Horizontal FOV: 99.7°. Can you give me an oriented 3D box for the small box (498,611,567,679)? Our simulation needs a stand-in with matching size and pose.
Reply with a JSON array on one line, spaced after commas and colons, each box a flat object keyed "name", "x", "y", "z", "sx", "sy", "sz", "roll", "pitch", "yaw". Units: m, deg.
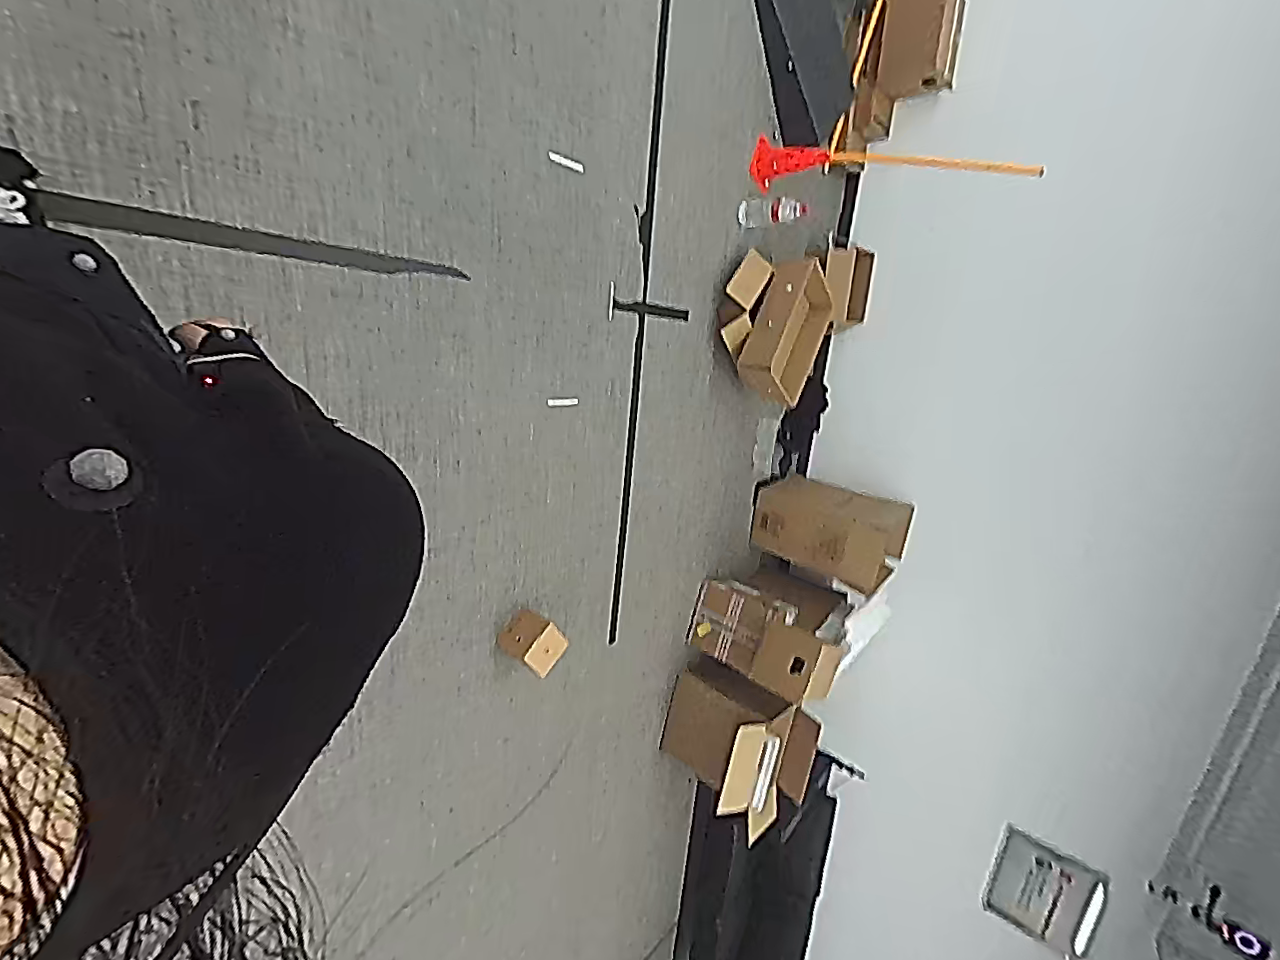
[{"name": "small box", "x": -0.424, "y": 0.639, "z": 2.119, "sx": 0.168, "sy": 0.176, "sz": 0.179, "roll": -50, "pitch": 139, "yaw": -25}]
